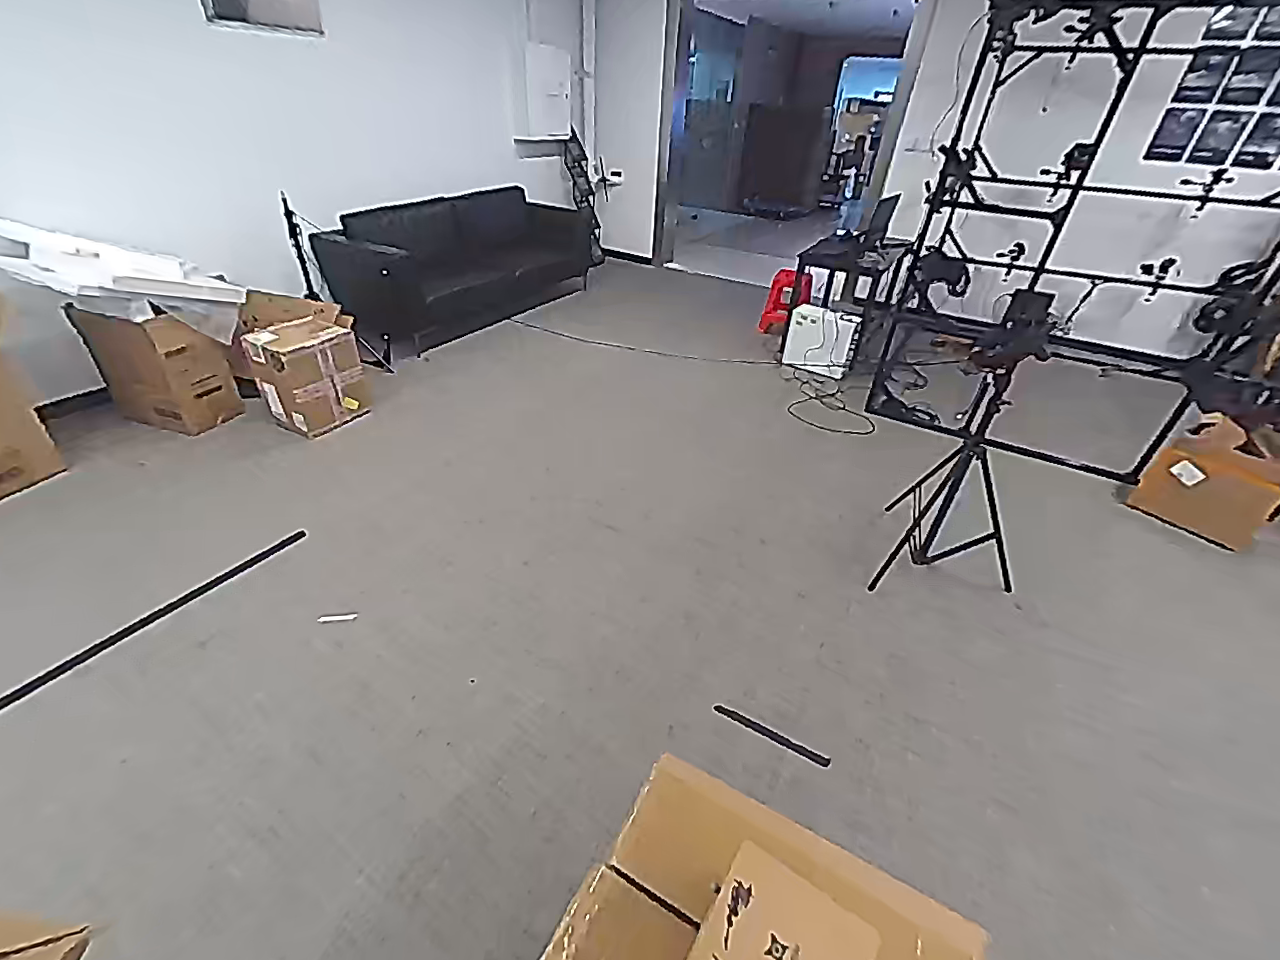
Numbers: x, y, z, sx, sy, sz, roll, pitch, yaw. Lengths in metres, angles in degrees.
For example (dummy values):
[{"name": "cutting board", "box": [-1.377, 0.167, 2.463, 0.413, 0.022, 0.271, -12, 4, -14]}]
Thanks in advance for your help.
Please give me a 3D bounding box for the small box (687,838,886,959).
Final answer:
[{"name": "small box", "box": [0.164, 0.586, 0.657, 0.179, 0.176, 0.168, 25, 49, 23]}]
